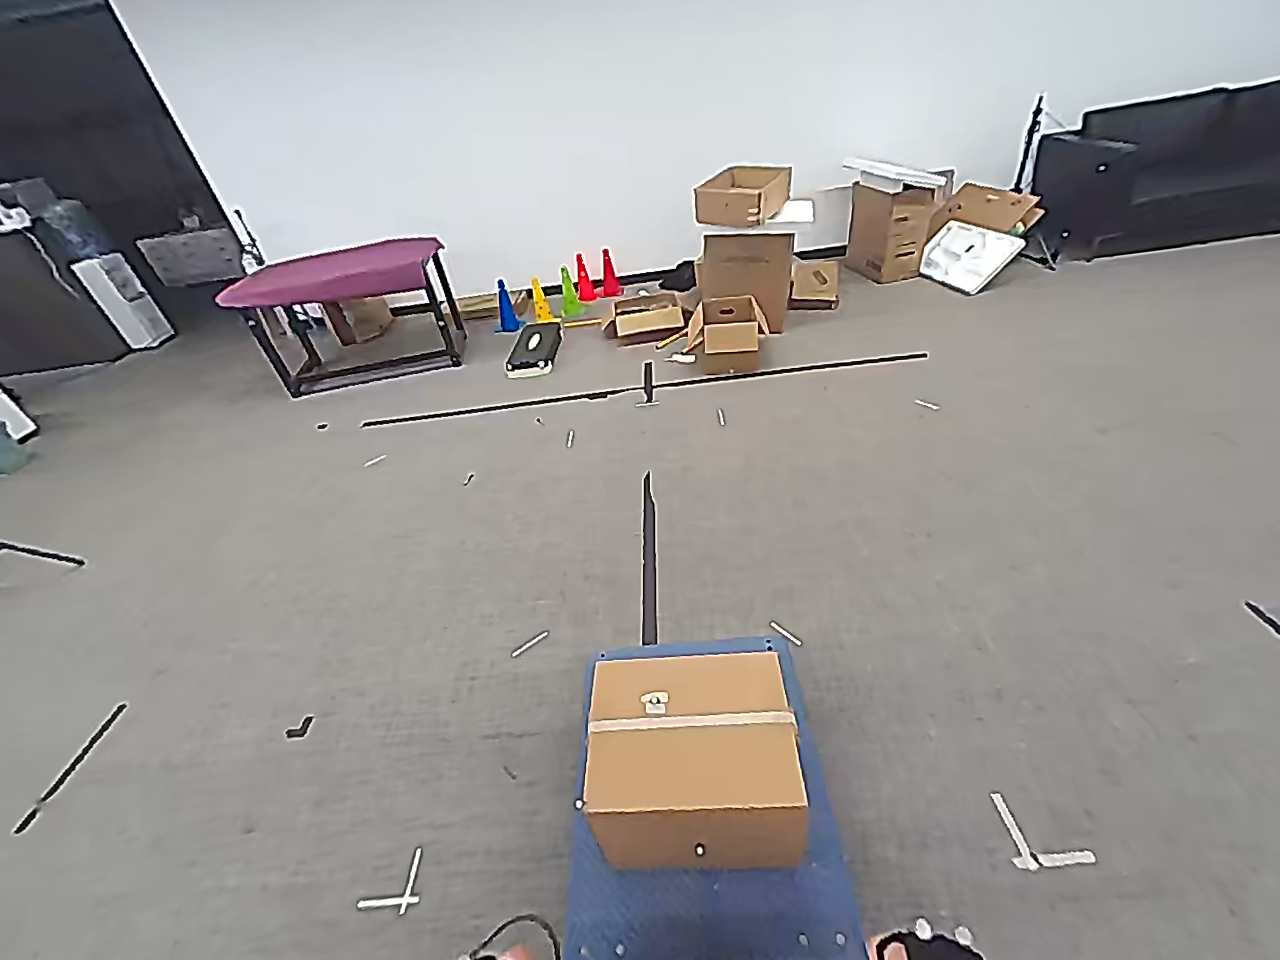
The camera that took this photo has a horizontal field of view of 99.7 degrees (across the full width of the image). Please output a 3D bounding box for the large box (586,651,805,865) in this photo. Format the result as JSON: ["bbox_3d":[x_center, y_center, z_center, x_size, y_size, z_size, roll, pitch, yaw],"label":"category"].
[{"bbox_3d":[0.120,0.608,1.182,0.408,0.320,0.320,-6,37,6],"label":"large box"}]
